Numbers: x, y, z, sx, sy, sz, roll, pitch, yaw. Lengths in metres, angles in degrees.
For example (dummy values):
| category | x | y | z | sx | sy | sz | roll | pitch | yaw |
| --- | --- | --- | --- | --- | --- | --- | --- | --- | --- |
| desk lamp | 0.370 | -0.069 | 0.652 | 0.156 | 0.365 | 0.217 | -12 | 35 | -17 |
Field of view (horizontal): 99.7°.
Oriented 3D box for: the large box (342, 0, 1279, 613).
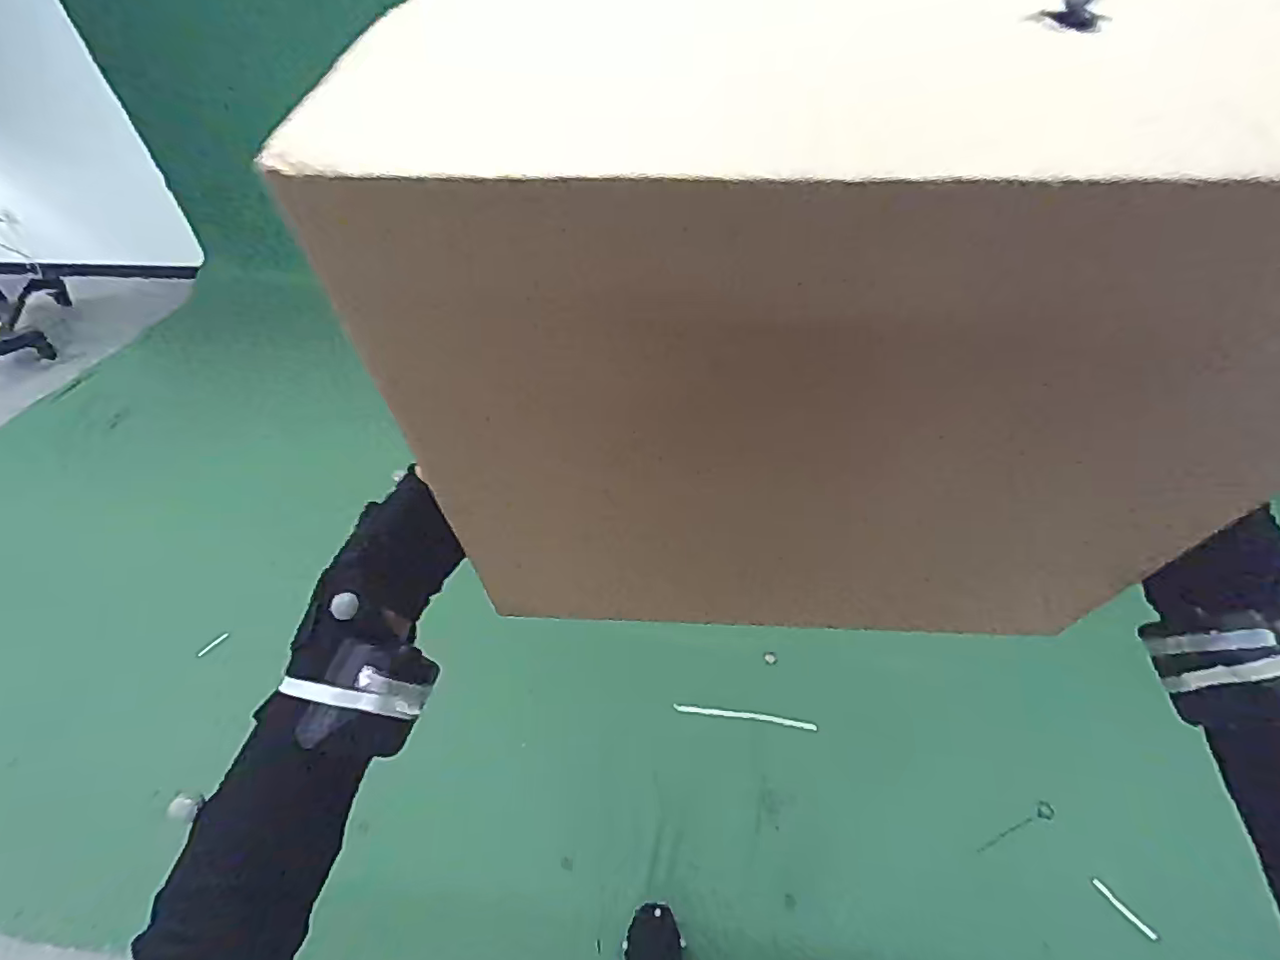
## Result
| category | x | y | z | sx | sy | sz | roll | pitch | yaw |
| --- | --- | --- | --- | --- | --- | --- | --- | --- | --- |
| large box | 0.104 | -0.115 | 0.374 | 0.408 | 0.320 | 0.320 | 2 | 54 | 1 |
